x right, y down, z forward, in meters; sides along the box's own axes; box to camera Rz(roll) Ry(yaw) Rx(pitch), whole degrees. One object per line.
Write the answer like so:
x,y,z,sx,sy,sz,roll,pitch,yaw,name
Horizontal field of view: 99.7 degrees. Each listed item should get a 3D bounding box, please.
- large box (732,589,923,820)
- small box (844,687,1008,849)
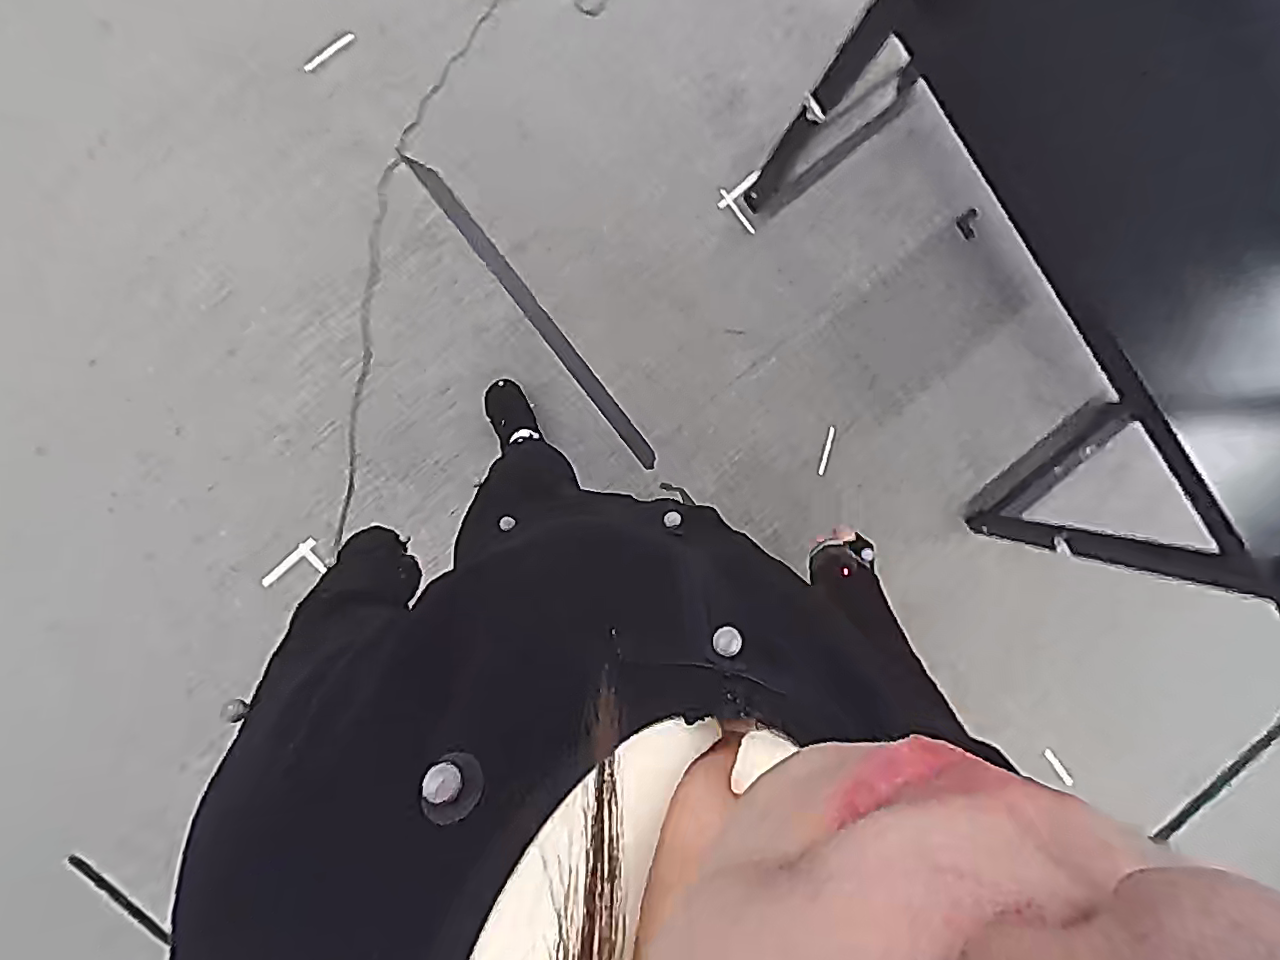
0.511,0.569,1.438,0.320,0.320,0.408,-37,98,-1,large box
0.532,0.532,1.026,0.168,0.176,0.179,-42,98,-4,small box
